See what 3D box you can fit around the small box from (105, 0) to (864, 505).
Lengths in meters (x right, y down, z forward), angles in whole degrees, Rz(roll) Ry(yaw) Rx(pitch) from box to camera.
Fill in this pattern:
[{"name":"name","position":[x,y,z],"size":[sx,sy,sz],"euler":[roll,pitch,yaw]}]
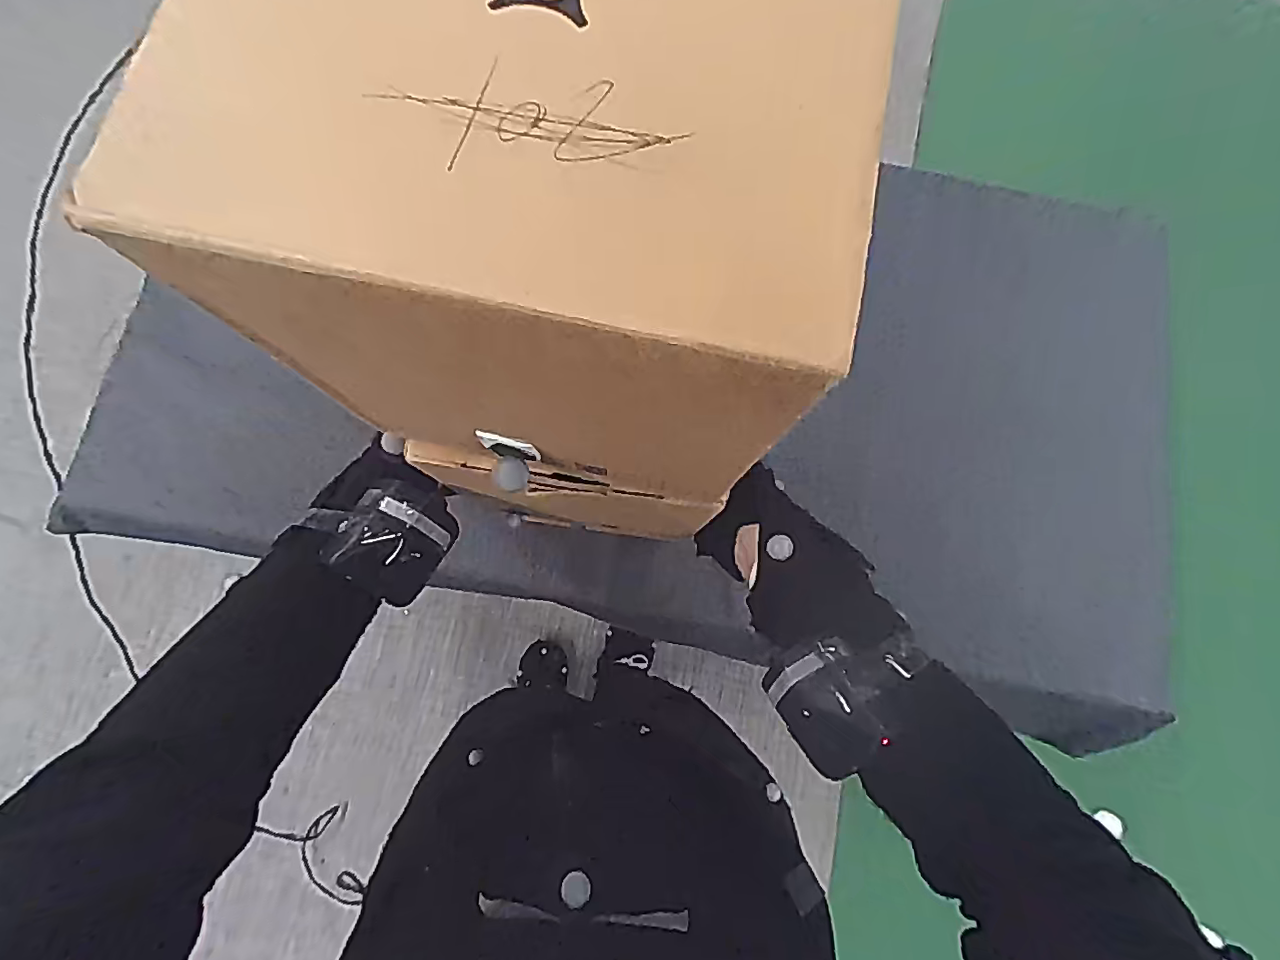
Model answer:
[{"name":"small box","position":[-0.028,-0.100,0.216],"size":[0.168,0.176,0.179],"euler":[10,78,2]}]

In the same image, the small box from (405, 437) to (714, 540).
[{"name":"small box","position":[-0.032,-0.060,0.373],"size":[0.168,0.176,0.179],"euler":[8,76,0]}]
